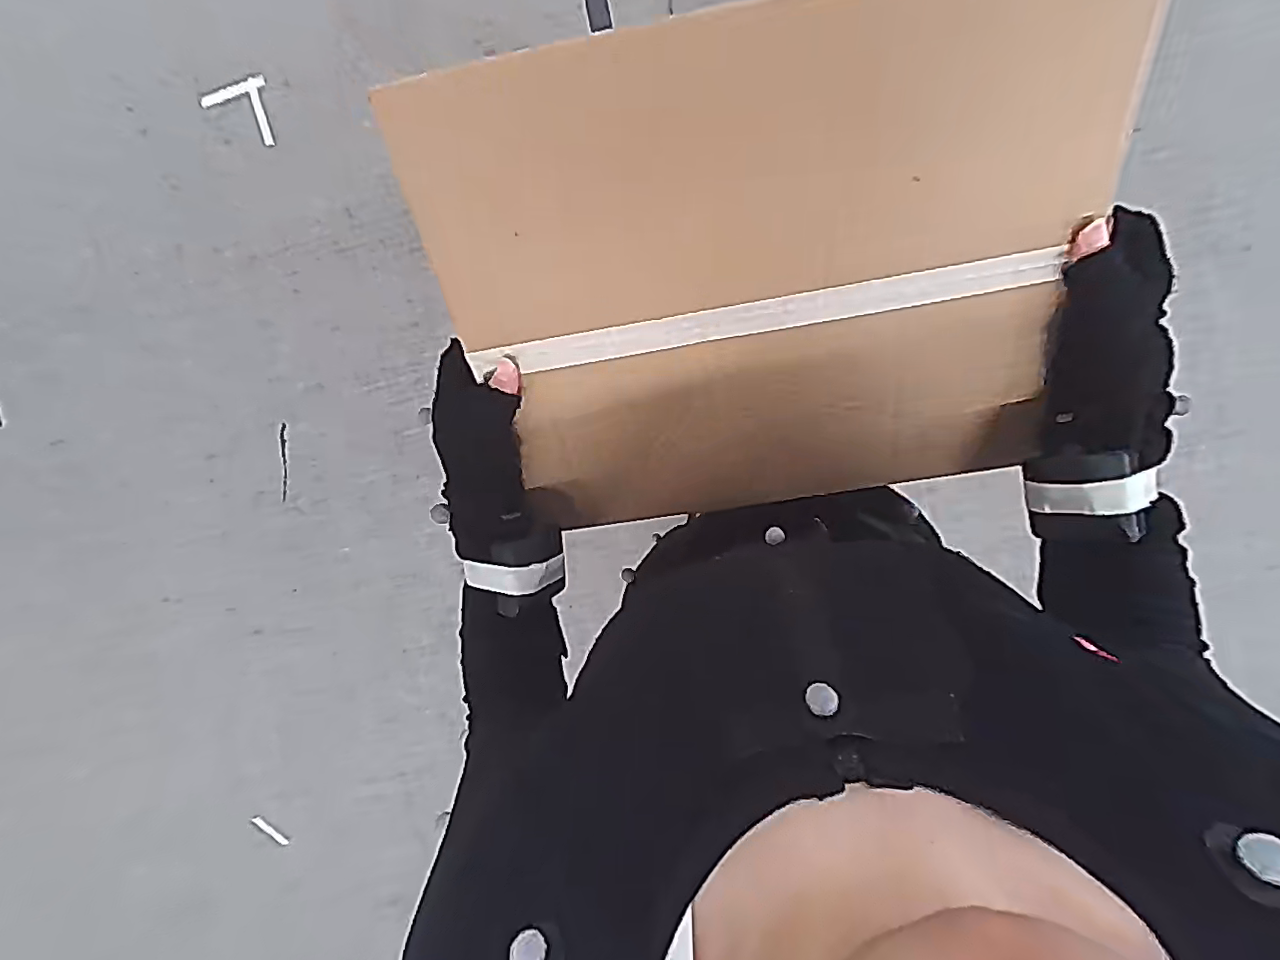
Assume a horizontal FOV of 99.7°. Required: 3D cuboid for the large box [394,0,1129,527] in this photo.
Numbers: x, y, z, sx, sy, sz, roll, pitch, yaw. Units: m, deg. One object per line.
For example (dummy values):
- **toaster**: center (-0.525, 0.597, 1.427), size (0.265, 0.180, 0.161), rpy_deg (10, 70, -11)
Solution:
- **large box**: center (0.079, -0.197, 0.492), size (0.408, 0.320, 0.320), rpy_deg (-9, 125, 5)
